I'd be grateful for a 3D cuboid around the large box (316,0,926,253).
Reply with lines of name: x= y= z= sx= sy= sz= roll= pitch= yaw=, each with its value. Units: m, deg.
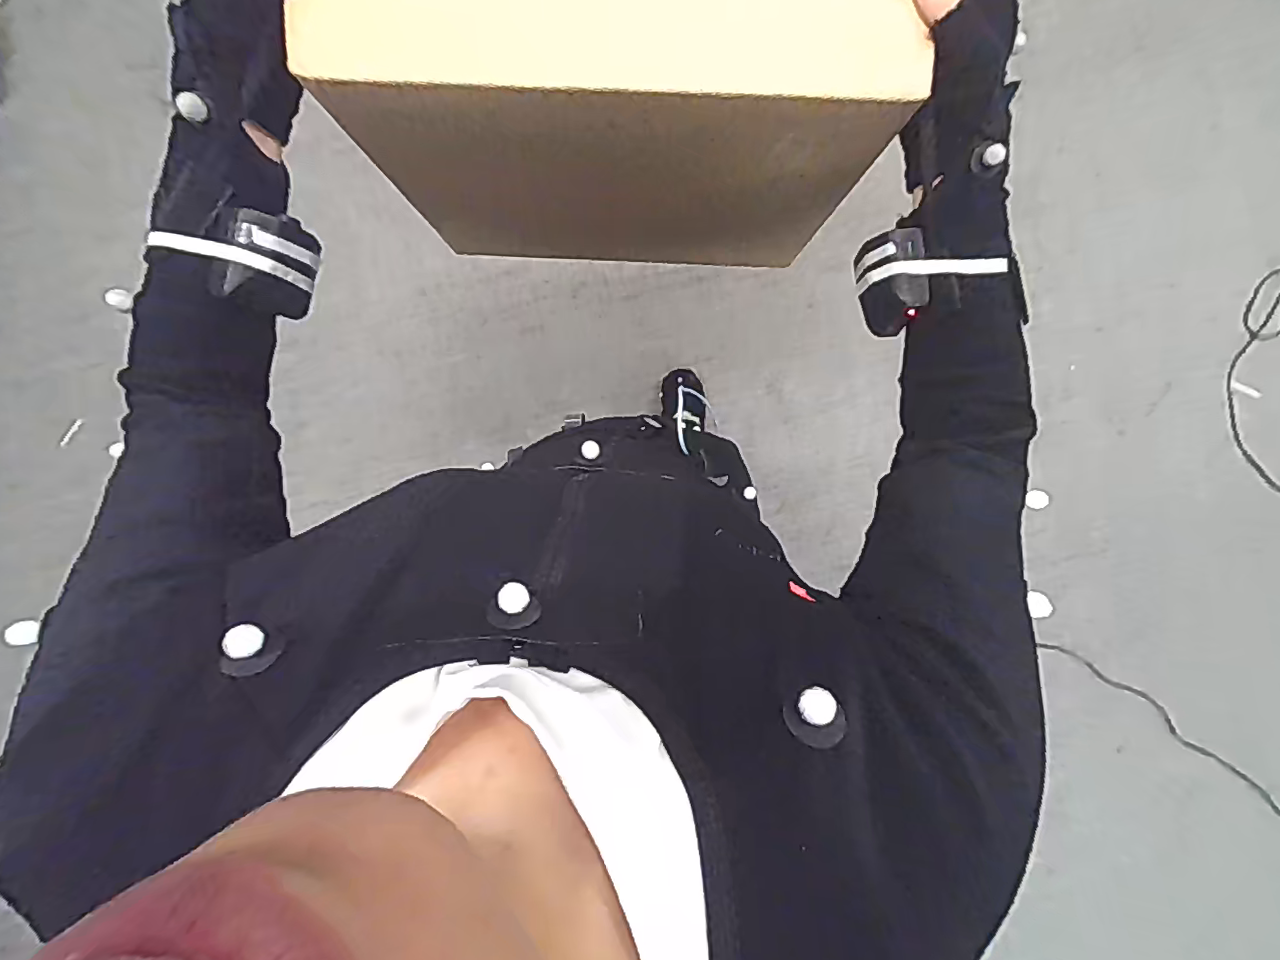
large box: x=-0.013 y=-0.419 z=0.494 sx=0.408 sy=0.320 sz=0.320 roll=1 pitch=94 yaw=-2
